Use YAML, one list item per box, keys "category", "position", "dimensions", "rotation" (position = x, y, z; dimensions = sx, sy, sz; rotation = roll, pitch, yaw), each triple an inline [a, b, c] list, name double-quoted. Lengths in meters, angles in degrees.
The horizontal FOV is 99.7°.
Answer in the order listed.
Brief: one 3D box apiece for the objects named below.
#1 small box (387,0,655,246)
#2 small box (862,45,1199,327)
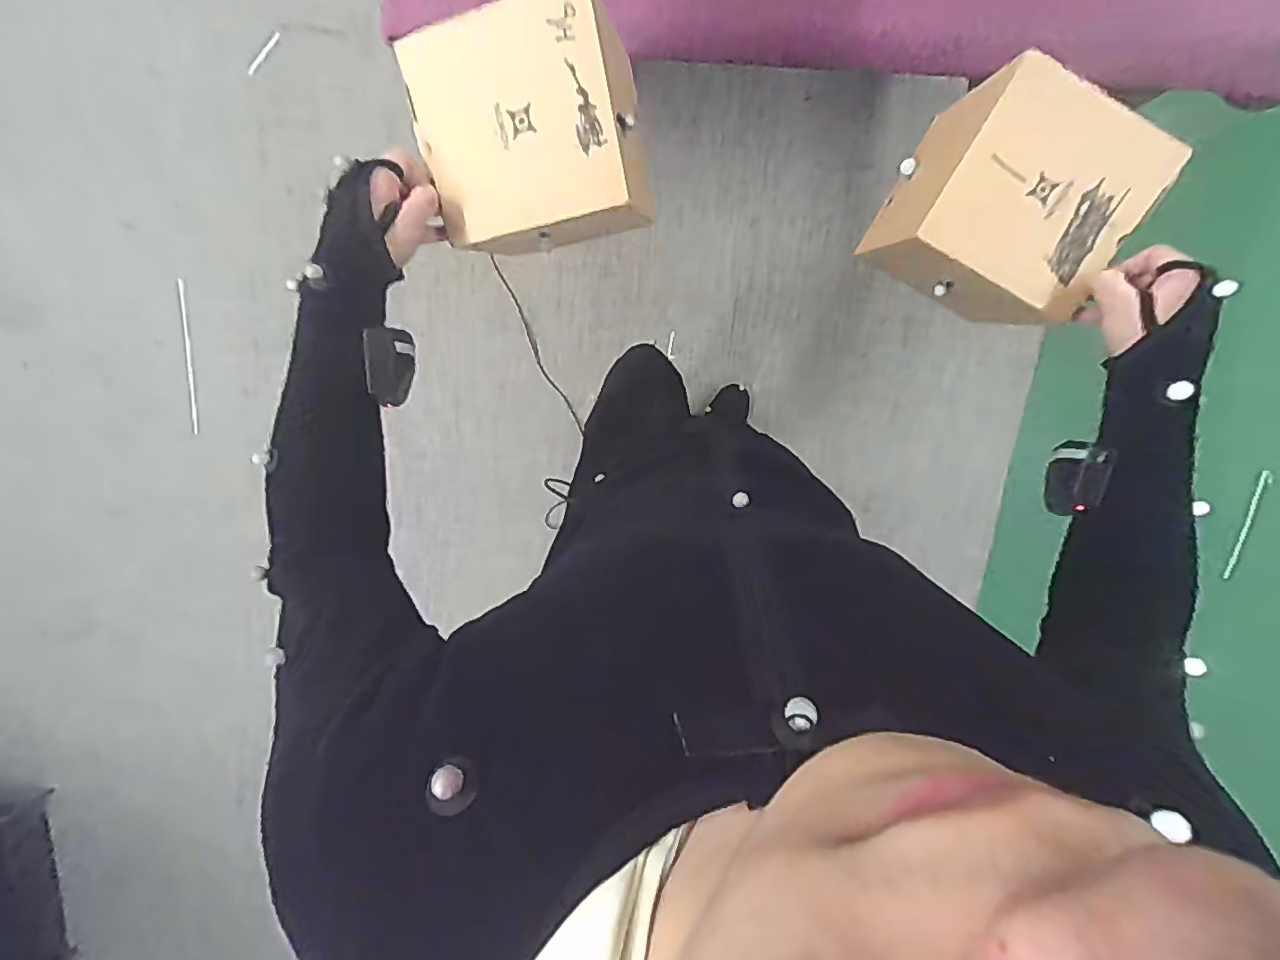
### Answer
- category: "small box"
  position: [-0.095, -0.329, 0.515]
  dimensions: [0.179, 0.176, 0.168]
  rotation: [-6, 108, 13]
- category: "small box"
  position: [0.365, -0.273, 0.546]
  dimensions: [0.179, 0.176, 0.168]
  rotation: [27, 106, -6]
